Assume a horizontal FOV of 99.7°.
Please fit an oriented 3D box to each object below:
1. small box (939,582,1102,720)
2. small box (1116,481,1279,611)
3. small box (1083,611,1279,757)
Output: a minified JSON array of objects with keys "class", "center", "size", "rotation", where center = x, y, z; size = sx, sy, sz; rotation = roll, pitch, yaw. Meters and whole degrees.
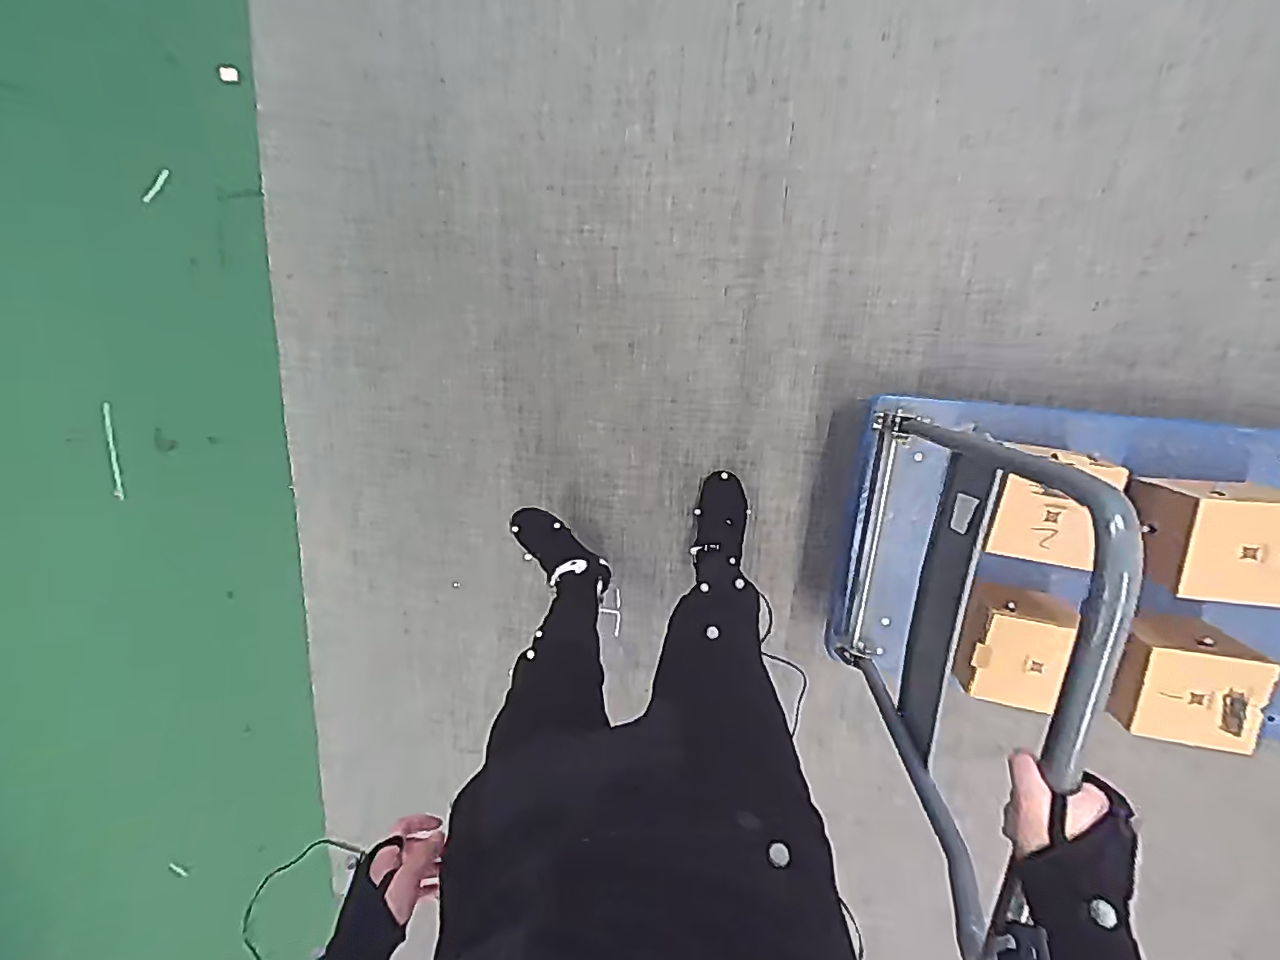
[{"class":"small box","center":[0.688,0.306,1.003],"size":[0.179,0.176,0.168],"rotation":[10,103,12]},{"class":"small box","center":[0.951,0.101,0.899],"size":[0.179,0.176,0.168],"rotation":[4,103,12]},{"class":"small box","center":[0.928,0.348,0.956],"size":[0.179,0.176,0.168],"rotation":[7,102,12]}]
